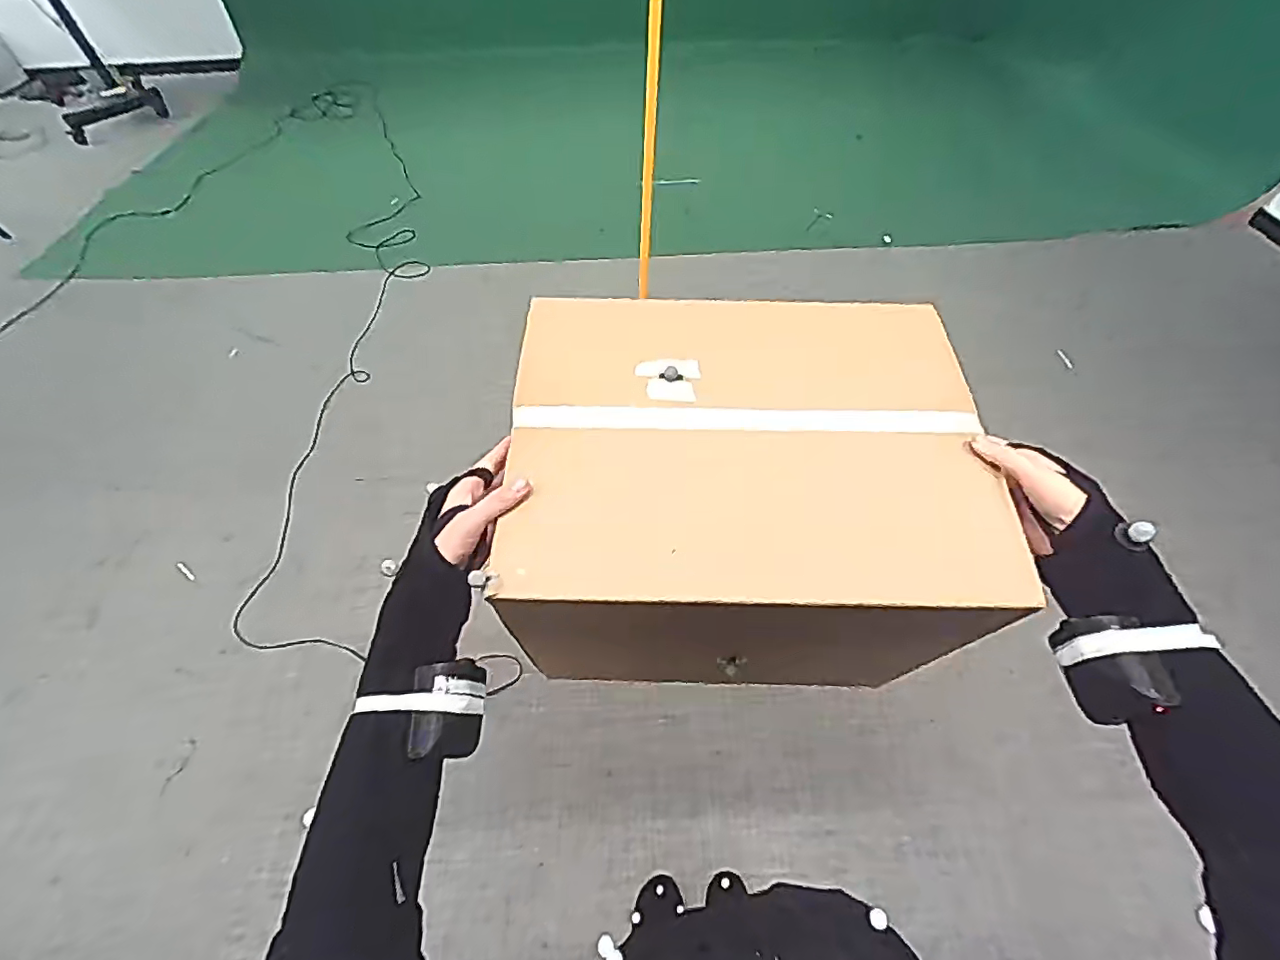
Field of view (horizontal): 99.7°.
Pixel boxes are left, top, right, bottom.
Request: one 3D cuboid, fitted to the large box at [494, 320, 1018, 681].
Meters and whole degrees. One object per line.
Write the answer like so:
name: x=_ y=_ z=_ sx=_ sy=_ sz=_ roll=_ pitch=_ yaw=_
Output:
large box: x=0.091 y=0.043 z=0.607 sx=0.408 sy=0.320 sz=0.320 roll=1 pitch=60 yaw=1
